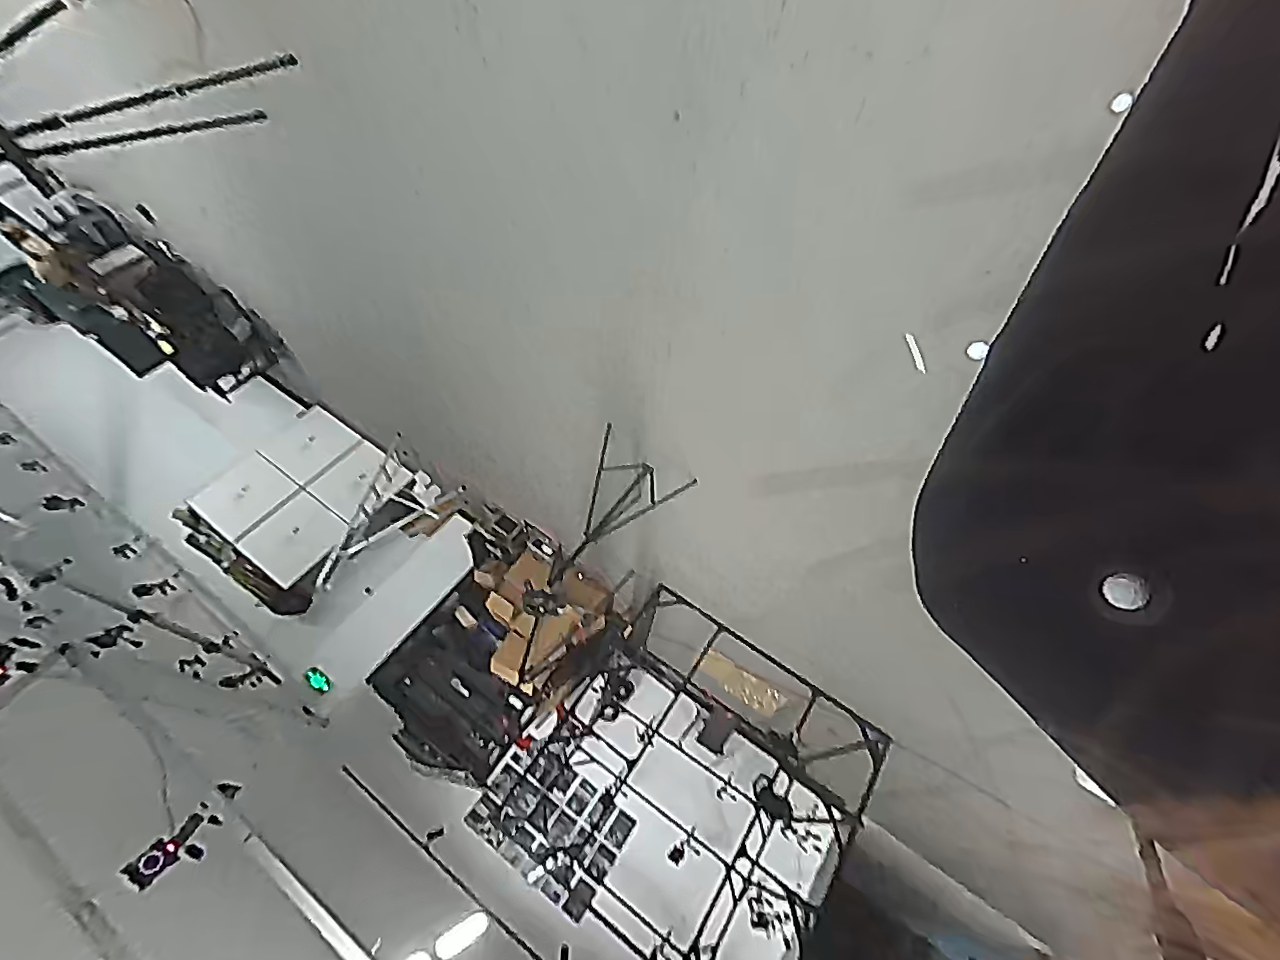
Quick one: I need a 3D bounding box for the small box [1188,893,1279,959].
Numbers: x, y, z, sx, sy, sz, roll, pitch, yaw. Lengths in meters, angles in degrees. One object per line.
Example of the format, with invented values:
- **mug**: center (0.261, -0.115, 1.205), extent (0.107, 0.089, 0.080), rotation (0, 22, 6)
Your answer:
- **small box**: center (1.569, 1.199, 1.374), extent (0.168, 0.176, 0.179), rotation (33, 152, 11)
